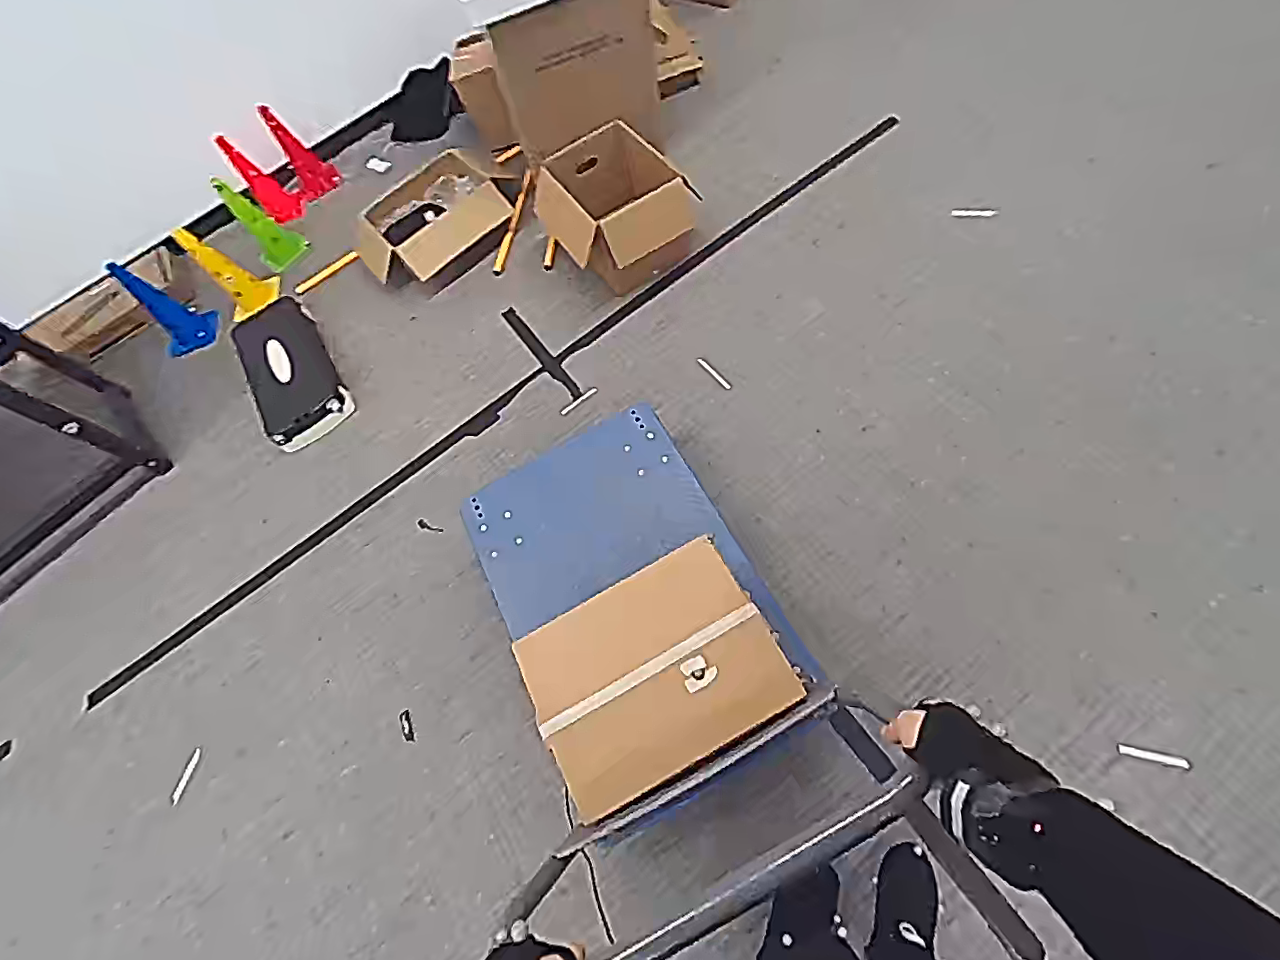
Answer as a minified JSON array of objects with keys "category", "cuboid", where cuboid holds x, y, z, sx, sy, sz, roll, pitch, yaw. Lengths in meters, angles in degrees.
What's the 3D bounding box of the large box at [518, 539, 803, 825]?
[{"category":"large box","cuboid":[0.044,0.381,1.045,0.408,0.320,0.320,-29,66,-4]}]
